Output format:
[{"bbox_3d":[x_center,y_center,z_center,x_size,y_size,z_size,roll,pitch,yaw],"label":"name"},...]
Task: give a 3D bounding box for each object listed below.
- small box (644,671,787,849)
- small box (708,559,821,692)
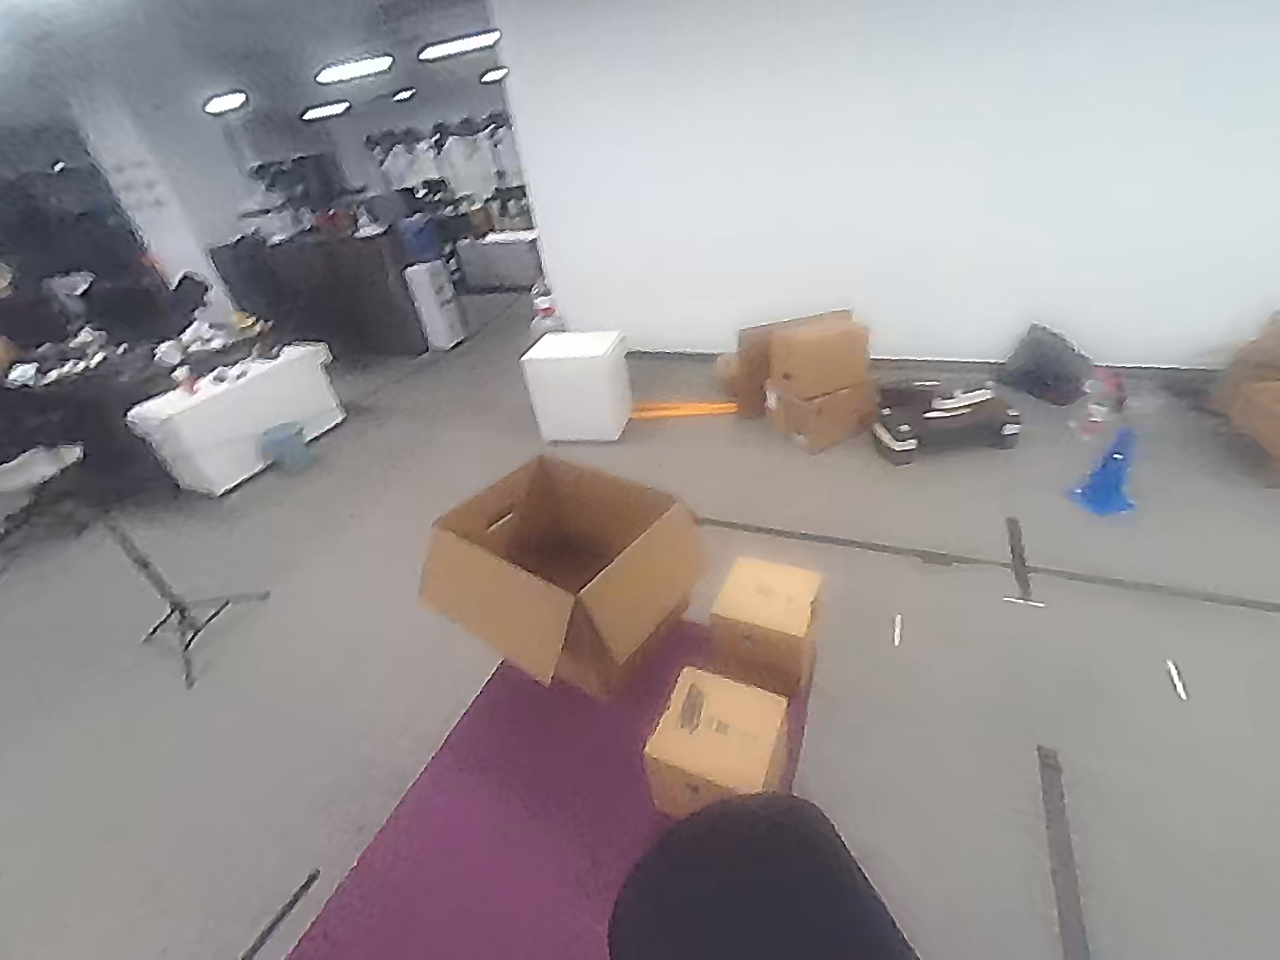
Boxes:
[{"bbox_3d":[0.127,0.442,0.858,0.179,0.176,0.168,9,38,25],"label":"small box"},{"bbox_3d":[0.248,0.284,1.062,0.179,0.176,0.168,9,38,27],"label":"small box"}]
